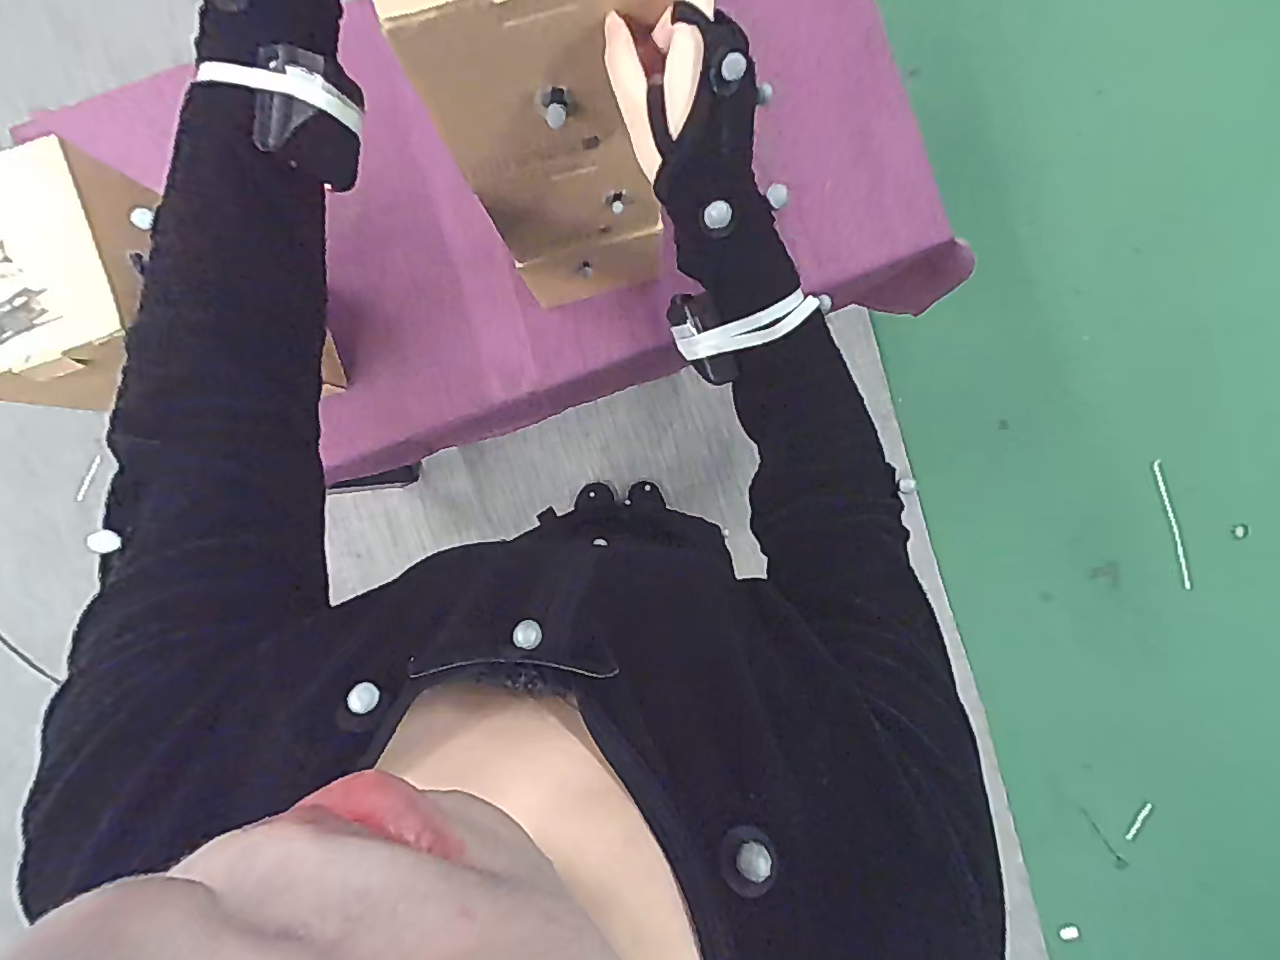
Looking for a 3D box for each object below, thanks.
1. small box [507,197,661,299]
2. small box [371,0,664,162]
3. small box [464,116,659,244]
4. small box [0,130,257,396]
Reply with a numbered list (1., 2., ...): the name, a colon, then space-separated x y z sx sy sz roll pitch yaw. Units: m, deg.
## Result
1. small box: -0.074 -0.348 0.687 0.179 0.176 0.168 -13 92 1
2. small box: -0.081 -0.344 0.359 0.168 0.176 0.179 -15 93 0
3. small box: -0.079 -0.351 0.524 0.168 0.176 0.179 -14 91 0
4. small box: -0.531 -0.191 0.538 0.168 0.176 0.179 -18 90 1
